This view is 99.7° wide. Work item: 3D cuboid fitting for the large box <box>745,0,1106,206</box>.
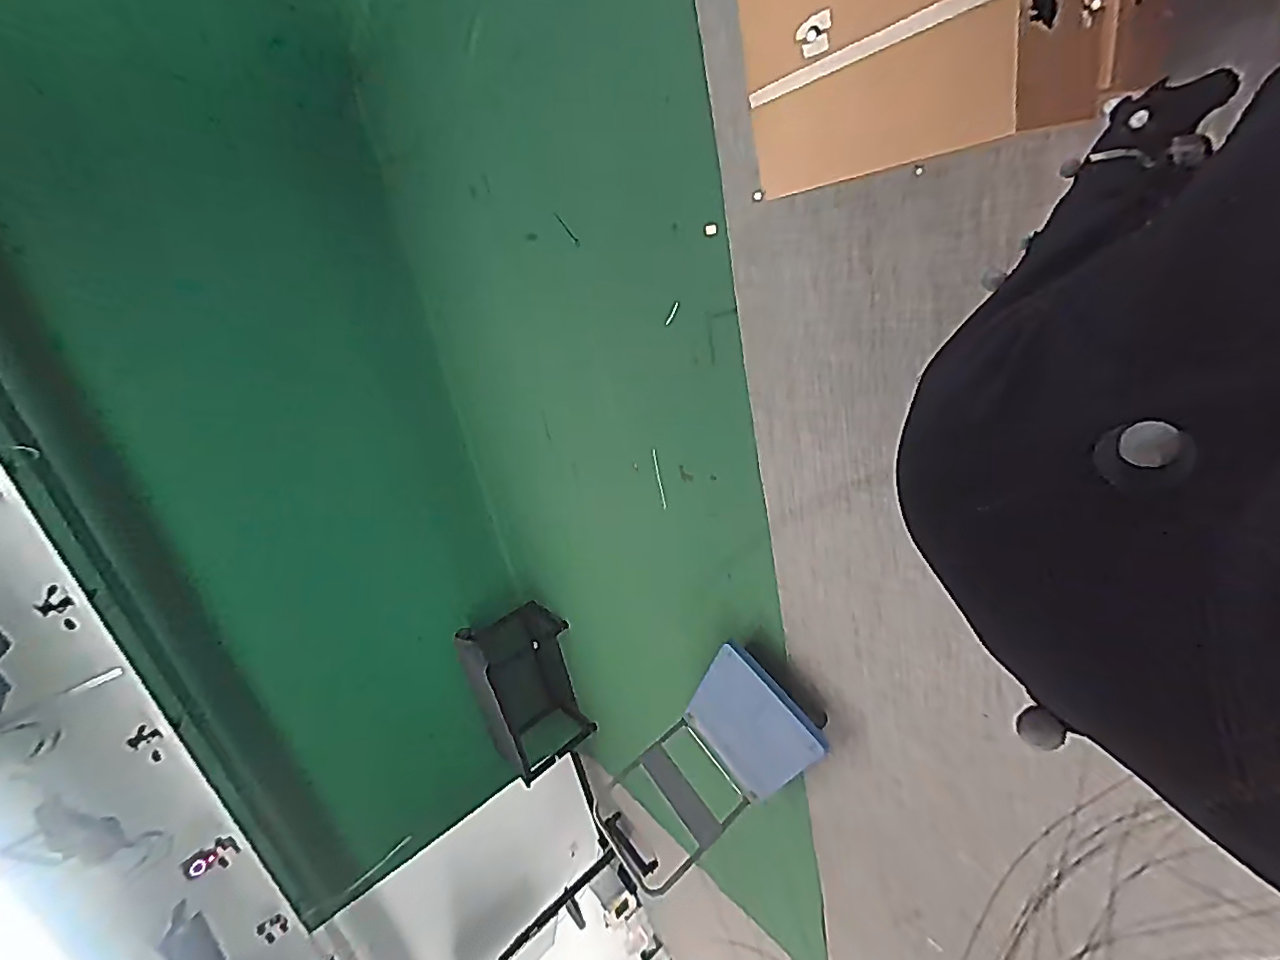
[{"bbox_3d":[0.435,-0.662,0.848,0.408,0.320,0.320,17,127,51],"label":"large box"}]
